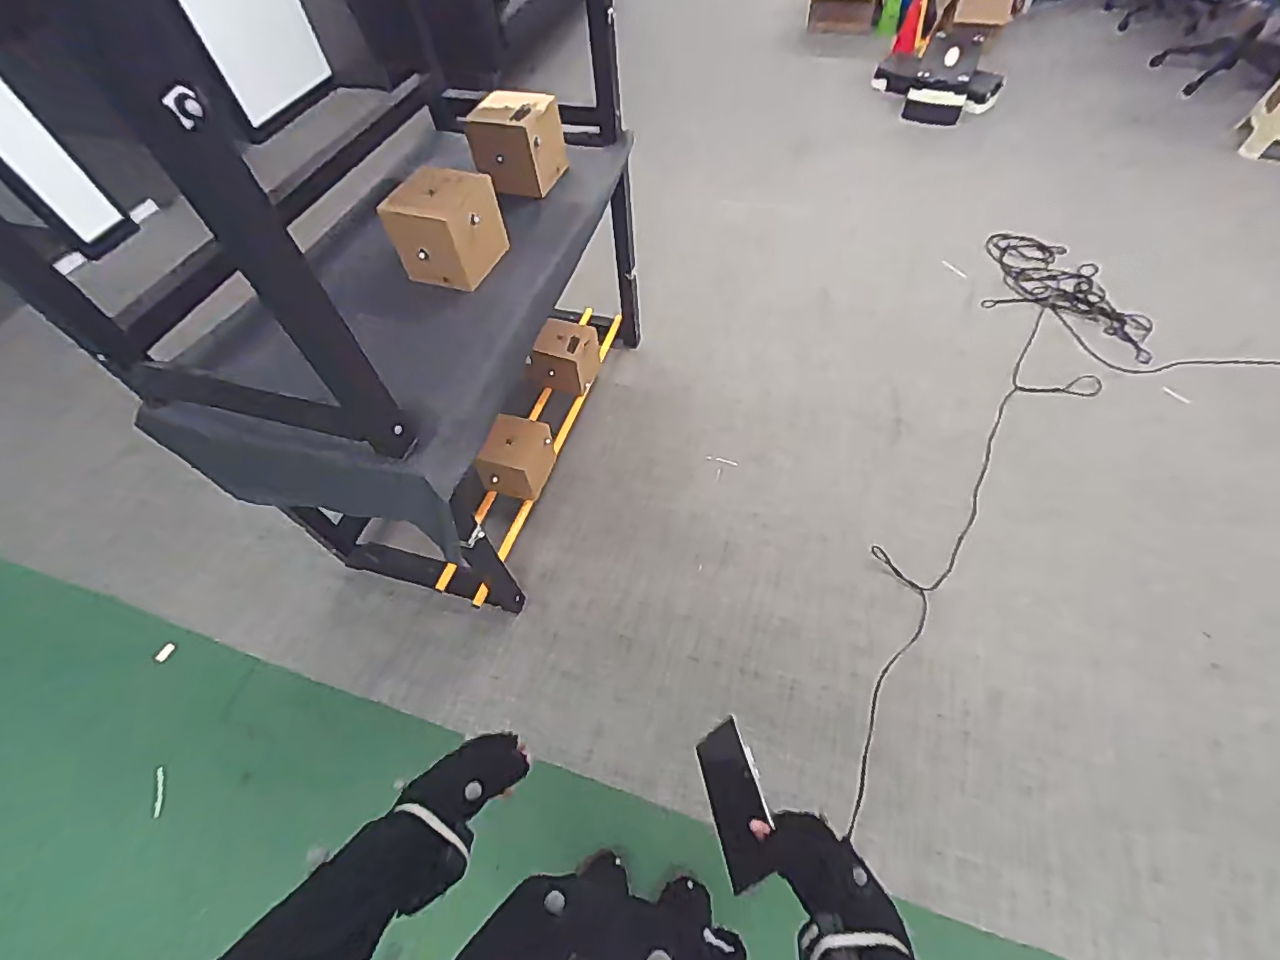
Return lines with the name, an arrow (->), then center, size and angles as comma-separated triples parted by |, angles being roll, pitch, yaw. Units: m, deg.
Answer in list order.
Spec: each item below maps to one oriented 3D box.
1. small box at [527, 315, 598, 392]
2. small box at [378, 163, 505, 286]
small box -> -0.252, -0.420, 1.817 | 0.179, 0.176, 0.168 | 16, 58, 13
small box -> -0.411, -0.544, 1.160 | 0.168, 0.176, 0.179 | 16, 58, 13
